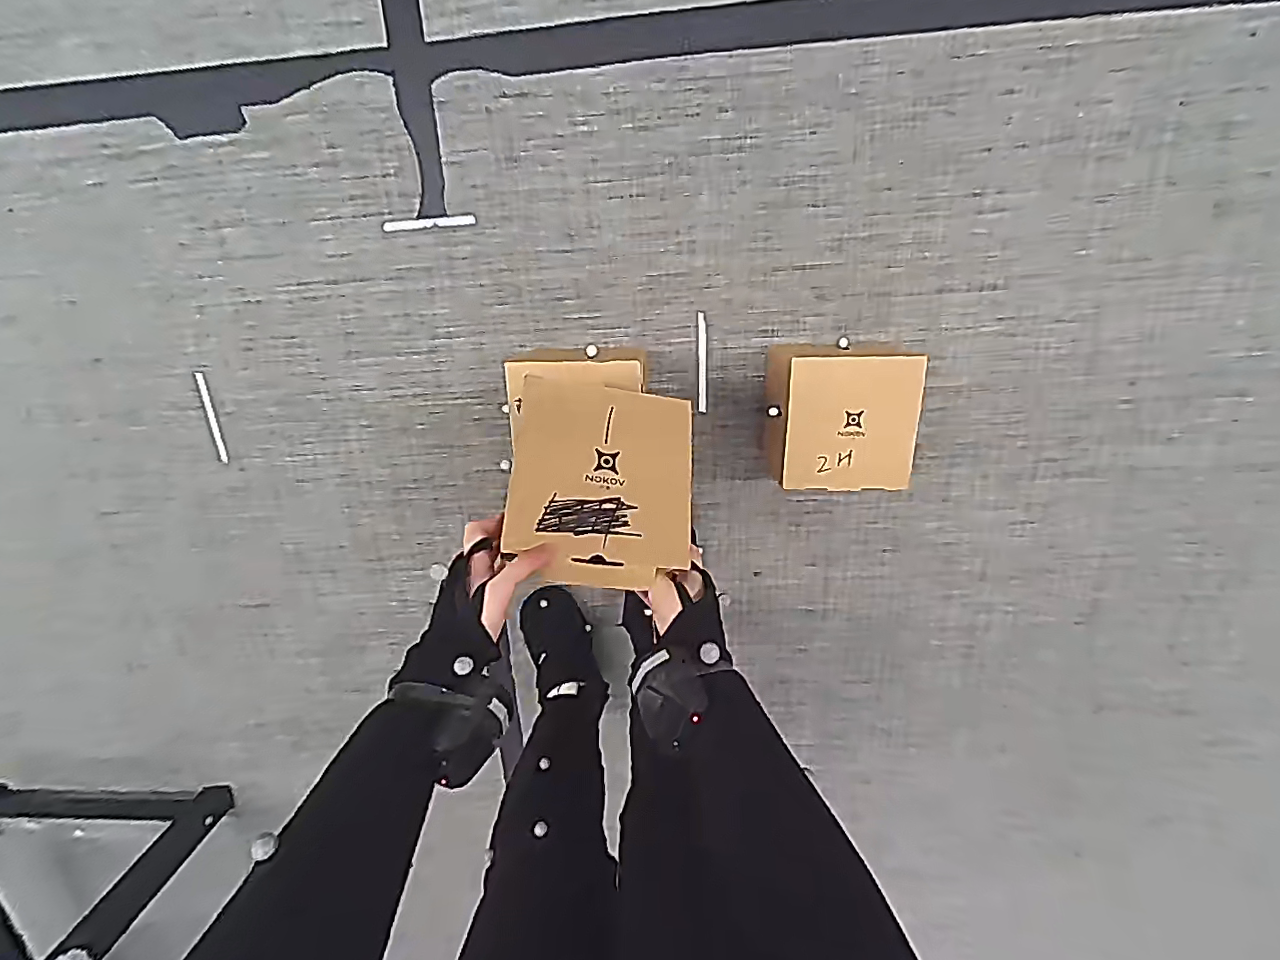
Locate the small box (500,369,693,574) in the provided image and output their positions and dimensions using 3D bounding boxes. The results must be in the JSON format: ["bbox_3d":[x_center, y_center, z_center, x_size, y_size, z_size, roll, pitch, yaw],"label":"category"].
[{"bbox_3d":[-0.051,0.001,0.584,0.168,0.176,0.179,8,82,-11],"label":"small box"}]

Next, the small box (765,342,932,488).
[{"bbox_3d":[0.273,-0.098,0.752,0.168,0.176,0.179,1,109,3],"label":"small box"}]

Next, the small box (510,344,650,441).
[{"bbox_3d":[-0.075,-0.102,0.767,0.179,0.176,0.168,0,109,1],"label":"small box"}]
